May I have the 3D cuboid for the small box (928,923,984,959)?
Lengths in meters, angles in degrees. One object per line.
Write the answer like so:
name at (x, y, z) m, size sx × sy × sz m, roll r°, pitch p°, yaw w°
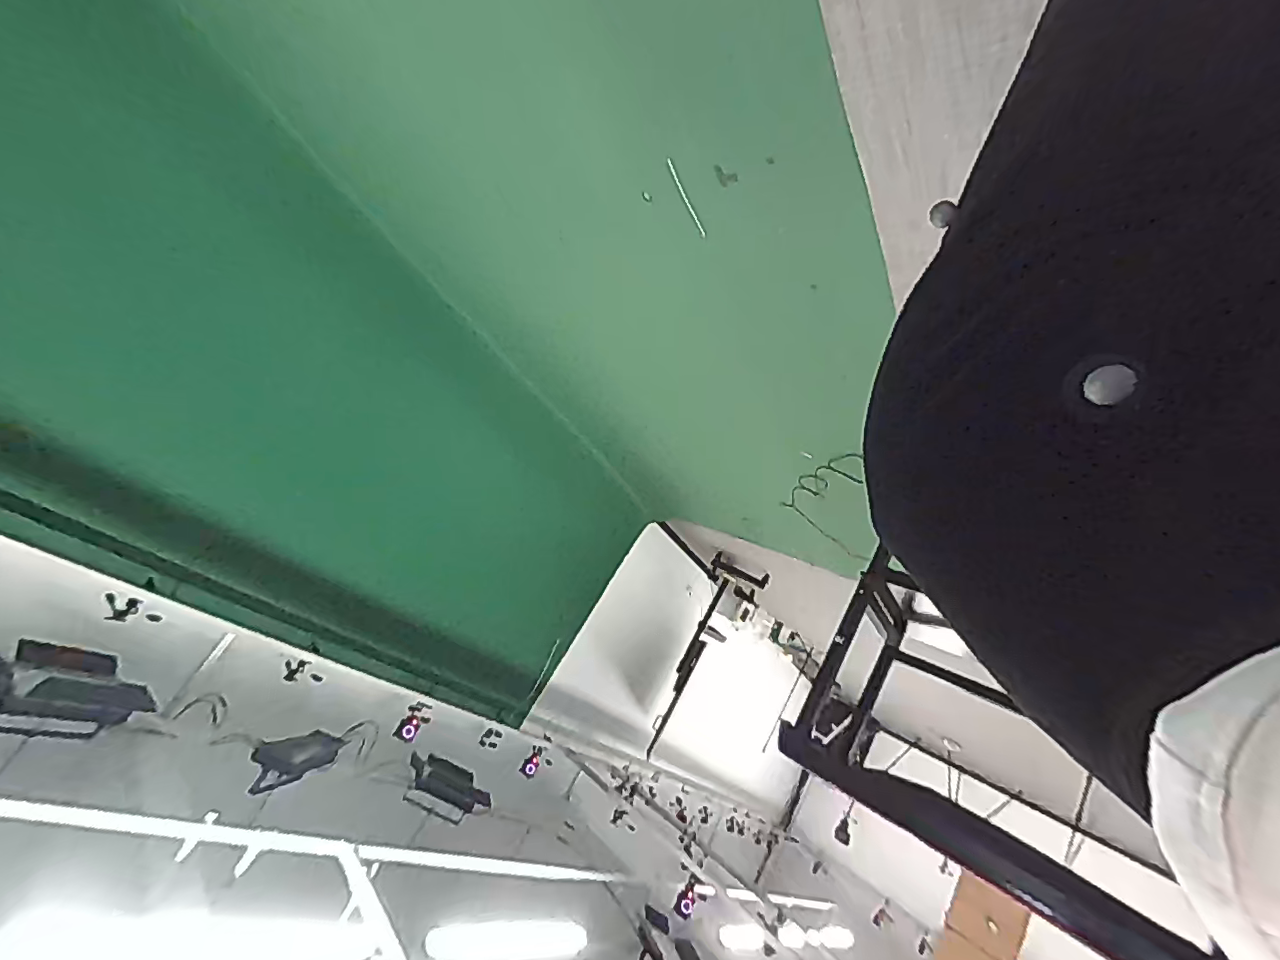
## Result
small box at (0.897, 1.383, 1.495) m, size 0.179 × 0.176 × 0.168 m, roll 20°, pitch 159°, yaw 41°

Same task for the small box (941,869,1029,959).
small box at (0.984, 1.250, 1.537) m, size 0.179 × 0.176 × 0.168 m, roll 17°, pitch 158°, yaw 42°
